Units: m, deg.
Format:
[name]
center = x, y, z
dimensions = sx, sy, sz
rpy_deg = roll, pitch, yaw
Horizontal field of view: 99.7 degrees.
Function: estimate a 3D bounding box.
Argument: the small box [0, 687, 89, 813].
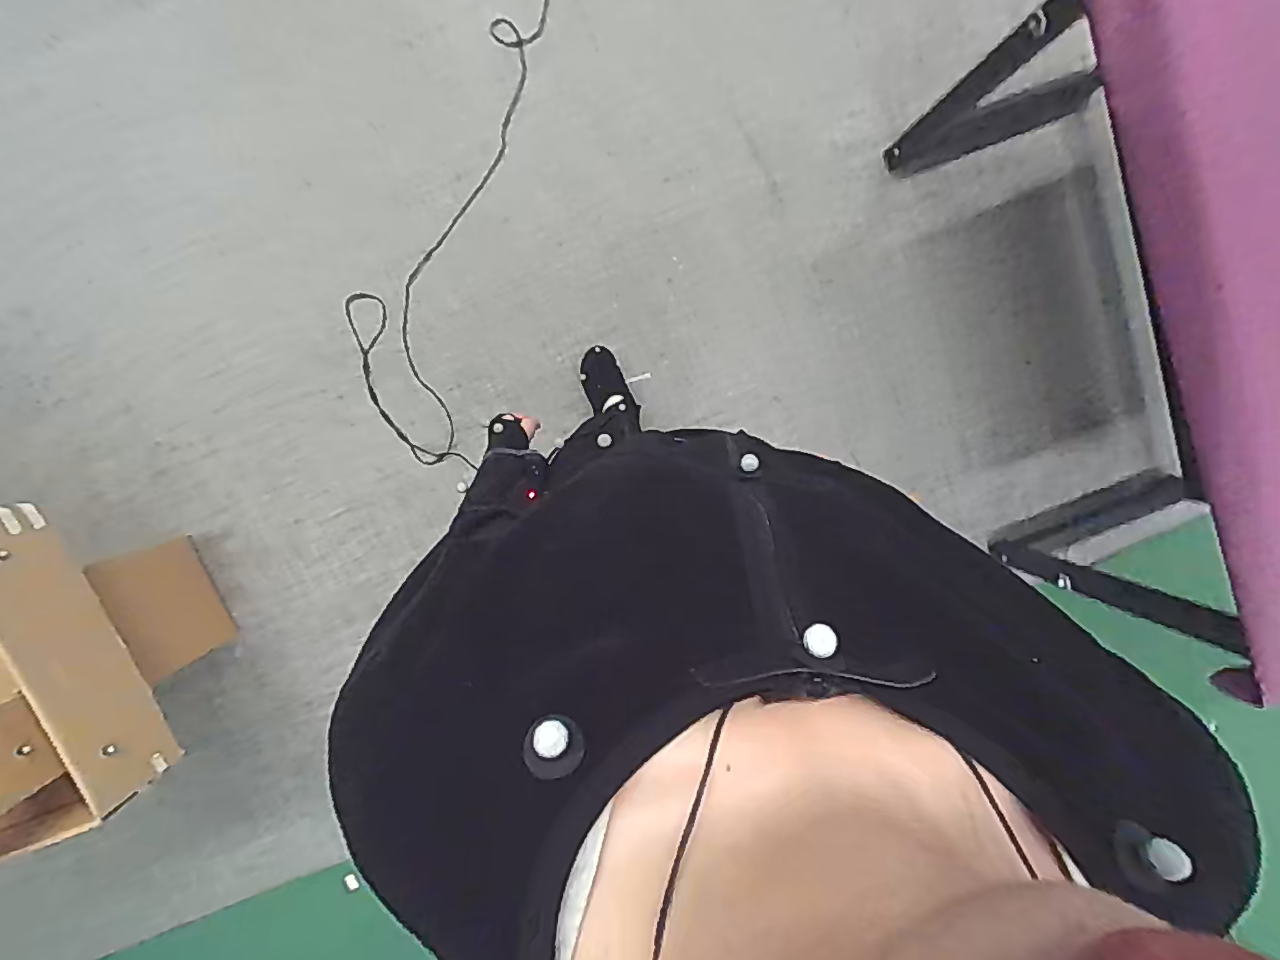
[small box]
center = -1.213, 0.513, 1.007
dimensions = 0.168, 0.176, 0.179
rpy_deg = -19, 98, 0
